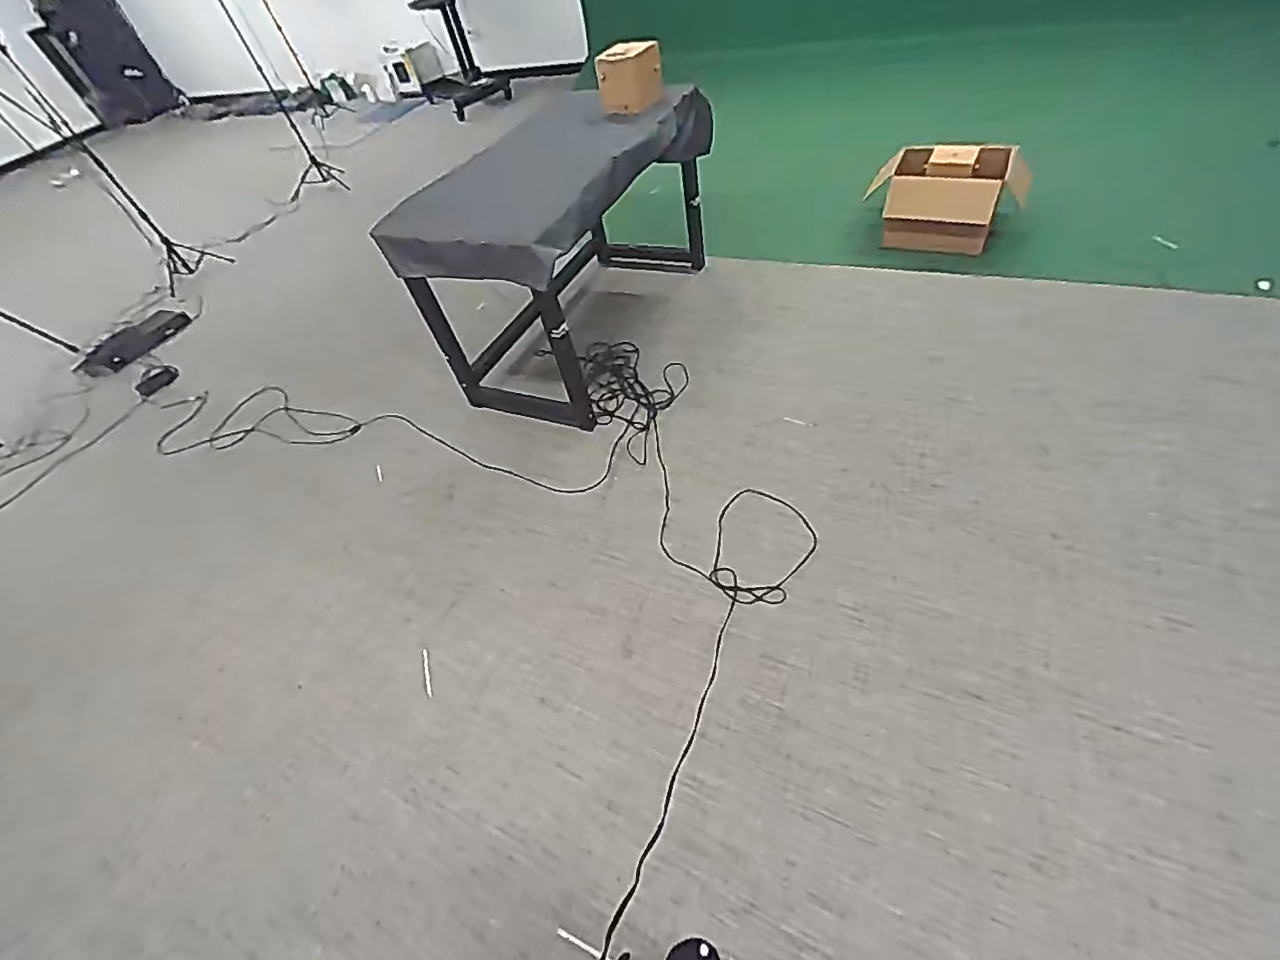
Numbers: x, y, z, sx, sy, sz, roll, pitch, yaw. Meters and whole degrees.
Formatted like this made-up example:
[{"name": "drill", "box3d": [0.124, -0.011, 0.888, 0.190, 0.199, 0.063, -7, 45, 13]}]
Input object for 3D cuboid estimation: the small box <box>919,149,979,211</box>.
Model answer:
[{"name": "small box", "box3d": [1.271, -1.237, 2.229, 0.168, 0.176, 0.179, 18, 56, 25]}]
